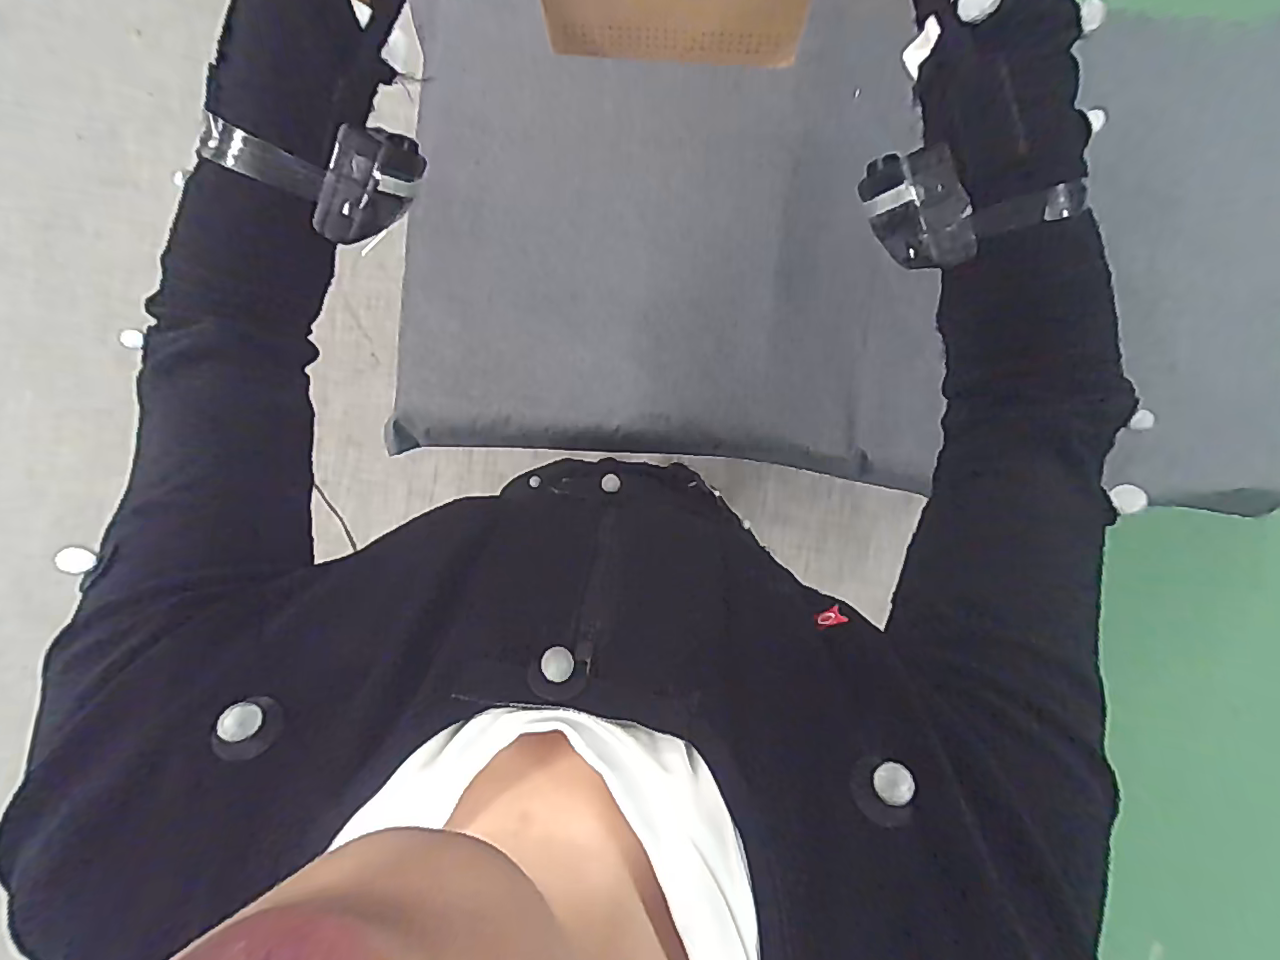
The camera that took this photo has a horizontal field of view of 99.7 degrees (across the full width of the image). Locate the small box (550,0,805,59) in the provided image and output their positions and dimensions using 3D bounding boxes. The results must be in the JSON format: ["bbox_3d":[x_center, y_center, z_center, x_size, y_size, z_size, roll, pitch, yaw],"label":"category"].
[{"bbox_3d":[0.028,-0.386,0.309,0.179,0.176,0.168,5,89,2],"label":"small box"}]
